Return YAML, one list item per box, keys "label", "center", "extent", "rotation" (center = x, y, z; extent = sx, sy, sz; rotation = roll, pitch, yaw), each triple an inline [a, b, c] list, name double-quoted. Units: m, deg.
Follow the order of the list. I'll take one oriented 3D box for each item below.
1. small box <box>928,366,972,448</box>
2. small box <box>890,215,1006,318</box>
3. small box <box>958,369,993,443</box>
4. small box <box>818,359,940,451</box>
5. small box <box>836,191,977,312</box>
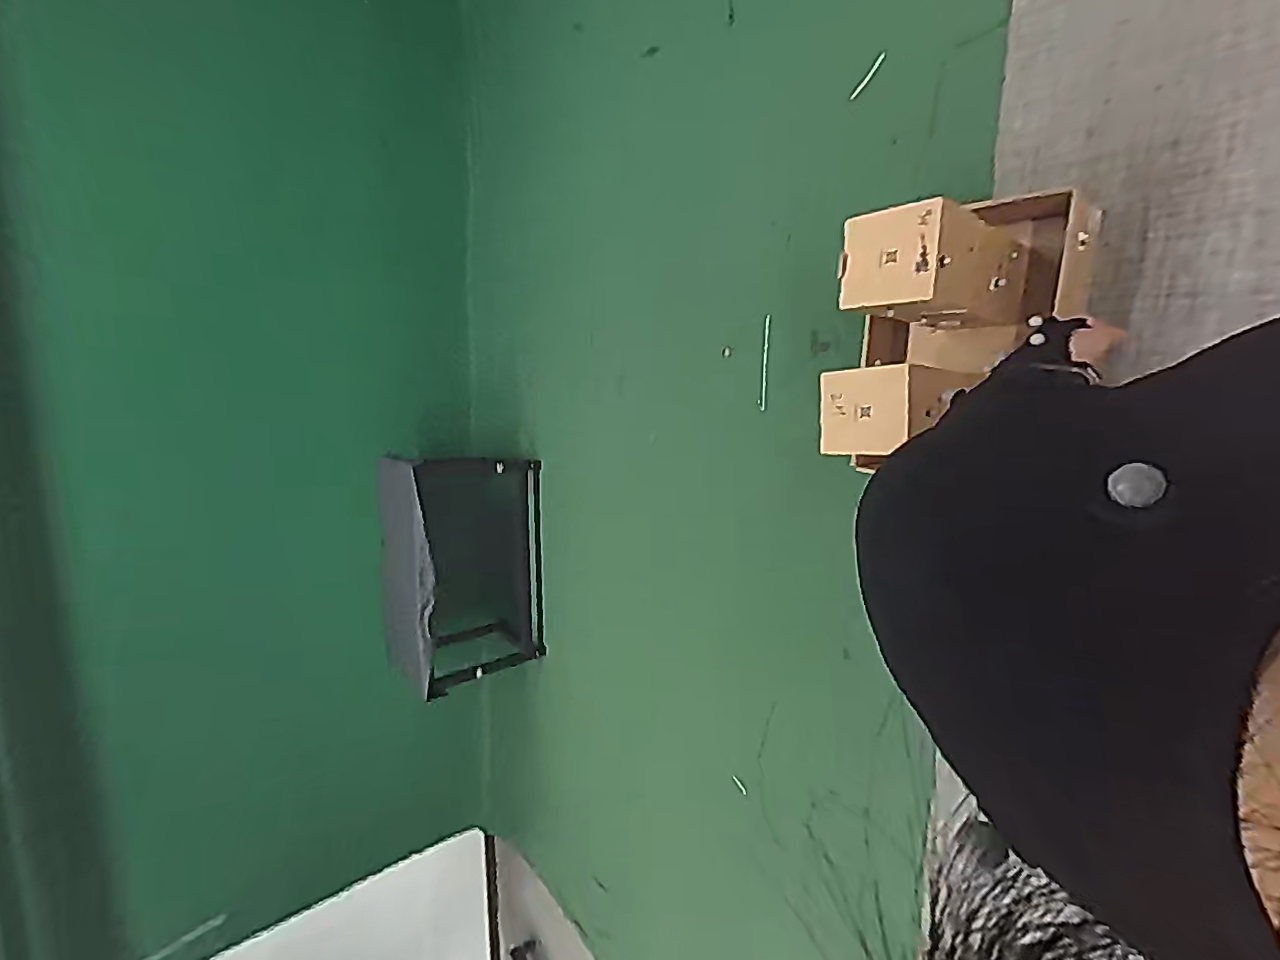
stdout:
- label: "small box"
  center: [0.598, -0.152, 1.181]
  extent: [0.179, 0.176, 0.168]
  rotation: [3, 96, 48]
- label: "small box"
  center: [0.622, -0.430, 1.120]
  extent: [0.179, 0.176, 0.168]
  rotation: [15, 107, 46]
- label: "small box"
  center: [0.716, -0.173, 1.296]
  extent: [0.179, 0.176, 0.168]
  rotation: [7, 99, 49]
- label: "small box"
  center: [0.475, -0.143, 1.072]
  extent: [0.179, 0.176, 0.168]
  rotation: [4, 96, 49]
- label: "small box"
  center: [0.496, -0.415, 1.014]
  extent: [0.179, 0.176, 0.168]
  rotation: [12, 105, 49]
